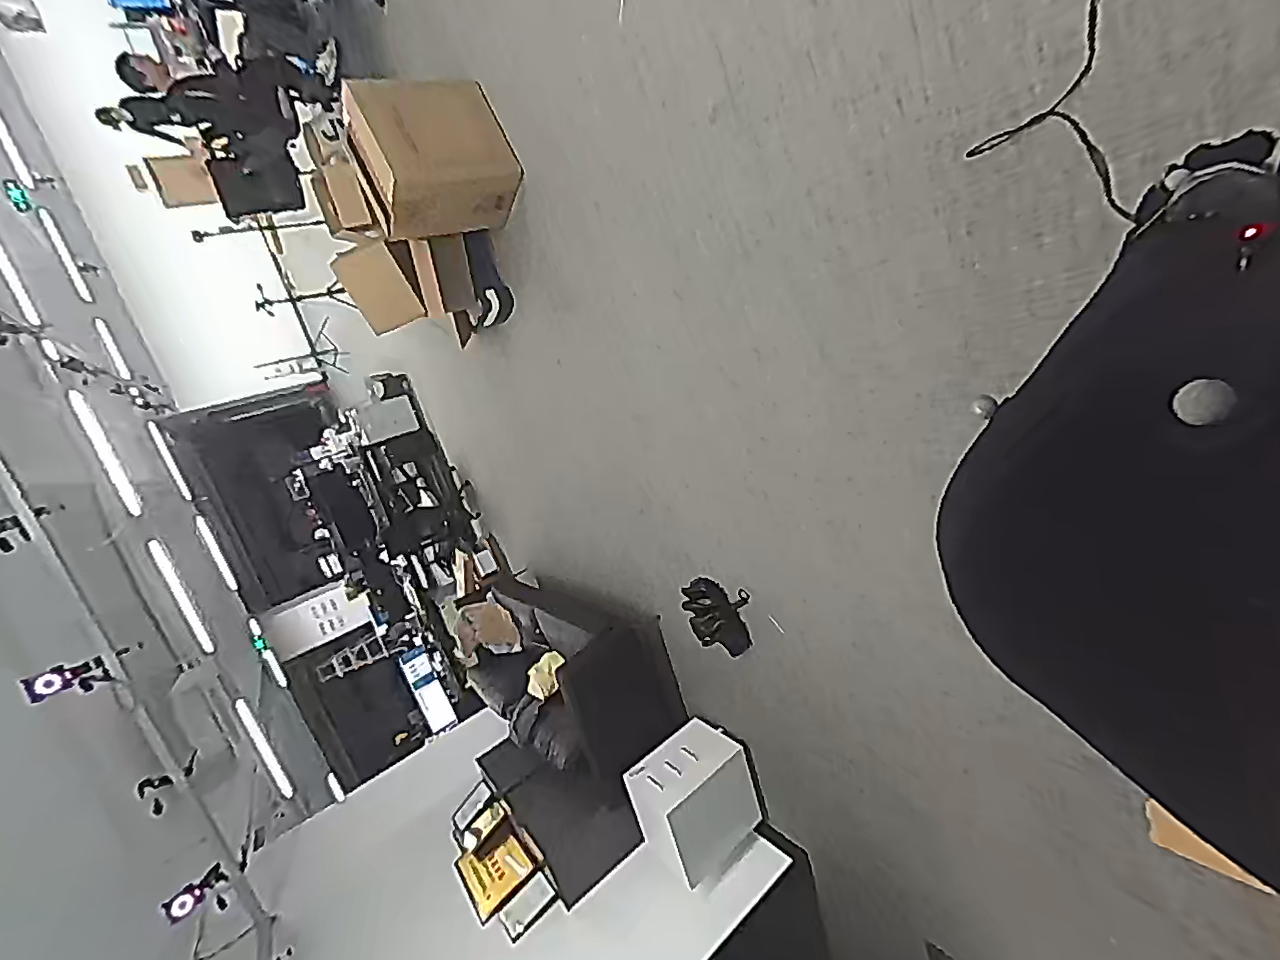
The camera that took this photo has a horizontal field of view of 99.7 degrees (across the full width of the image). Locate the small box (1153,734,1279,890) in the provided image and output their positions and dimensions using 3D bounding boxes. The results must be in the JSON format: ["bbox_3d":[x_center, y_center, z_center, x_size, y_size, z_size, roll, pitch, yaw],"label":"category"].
[{"bbox_3d":[1.175,0.648,1.086,0.179,0.176,0.168,8,119,56],"label":"small box"}]
